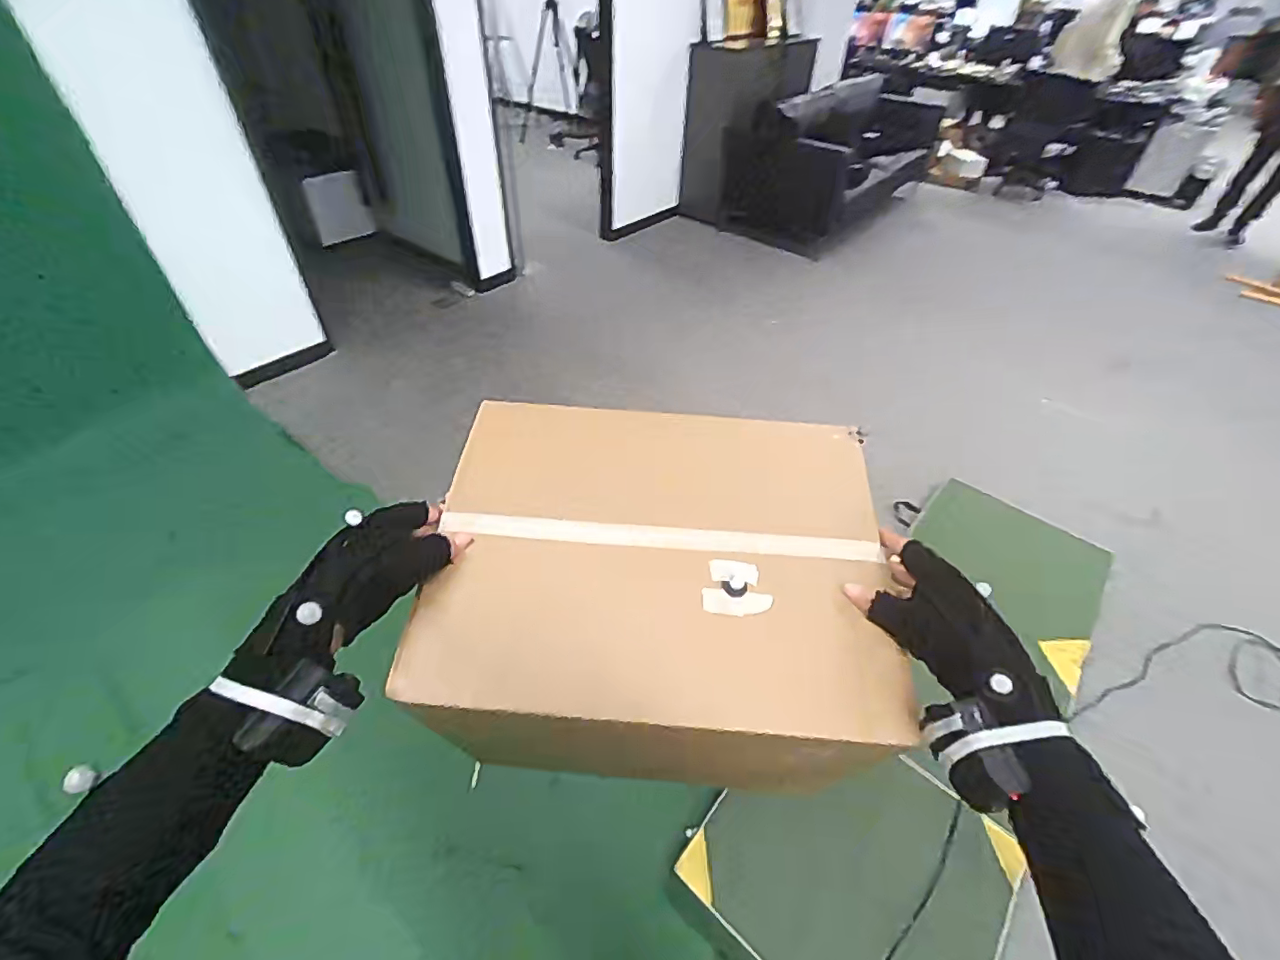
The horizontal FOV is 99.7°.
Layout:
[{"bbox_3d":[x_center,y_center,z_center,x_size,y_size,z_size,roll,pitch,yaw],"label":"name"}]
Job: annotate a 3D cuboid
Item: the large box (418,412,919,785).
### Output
[{"bbox_3d":[0.025,0.148,0.627,0.408,0.320,0.320,5,55,1],"label":"large box"}]
